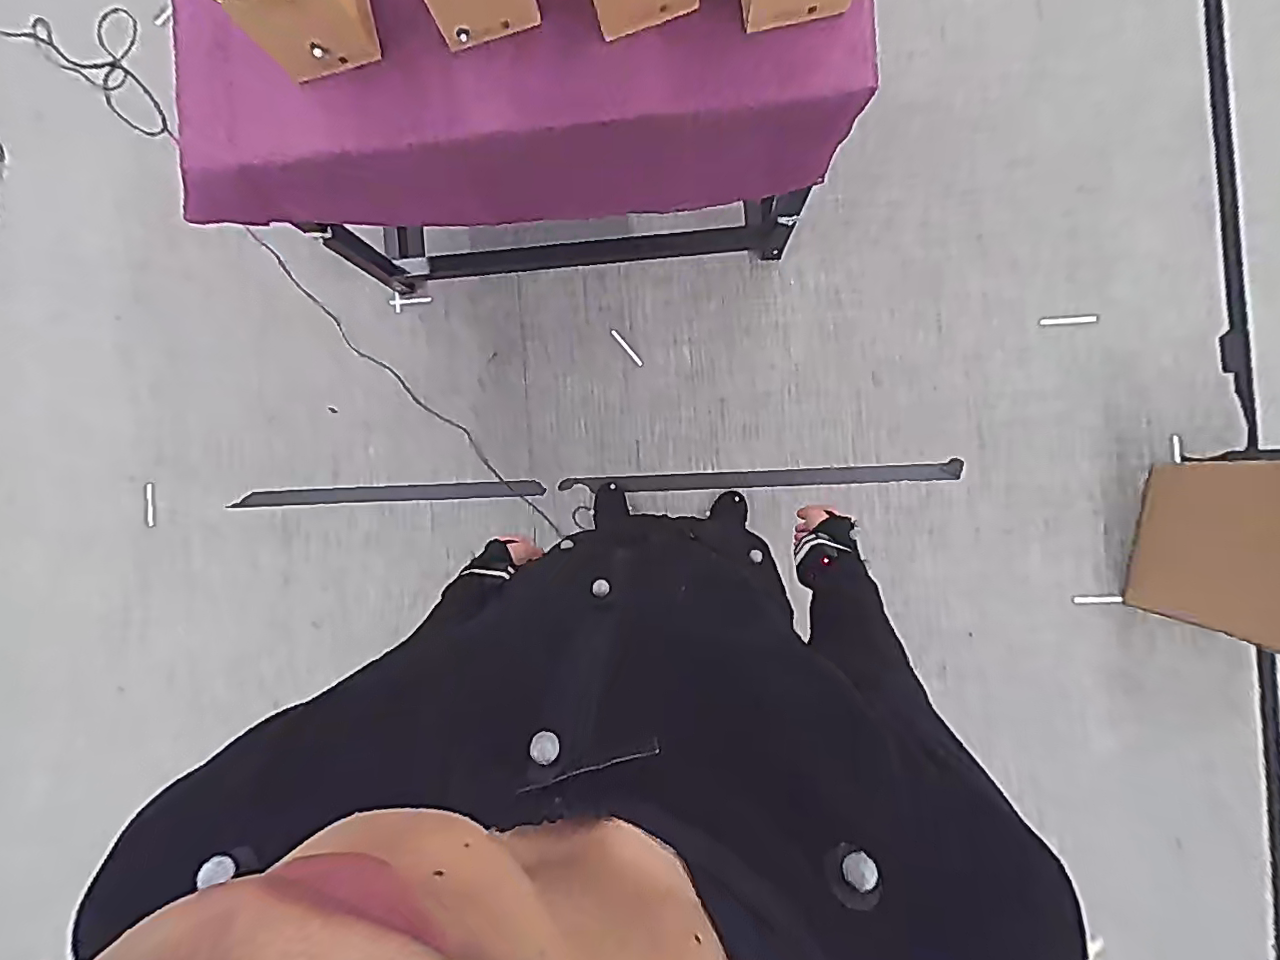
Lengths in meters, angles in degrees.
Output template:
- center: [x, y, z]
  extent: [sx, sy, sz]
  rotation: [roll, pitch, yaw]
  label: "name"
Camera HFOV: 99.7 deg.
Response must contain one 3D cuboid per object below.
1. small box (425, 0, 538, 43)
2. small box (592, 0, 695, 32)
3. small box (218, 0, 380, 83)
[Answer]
- center: [-0.272, -0.839, 0.849]
  extent: [0.168, 0.176, 0.179]
  rotation: [-14, 88, 4]
  label: "small box"
- center: [-0.010, -0.844, 0.830]
  extent: [0.168, 0.176, 0.179]
  rotation: [-16, 88, 4]
  label: "small box"
- center: [-0.551, -0.798, 0.870]
  extent: [0.168, 0.176, 0.179]
  rotation: [-12, 89, 5]
  label: "small box"
